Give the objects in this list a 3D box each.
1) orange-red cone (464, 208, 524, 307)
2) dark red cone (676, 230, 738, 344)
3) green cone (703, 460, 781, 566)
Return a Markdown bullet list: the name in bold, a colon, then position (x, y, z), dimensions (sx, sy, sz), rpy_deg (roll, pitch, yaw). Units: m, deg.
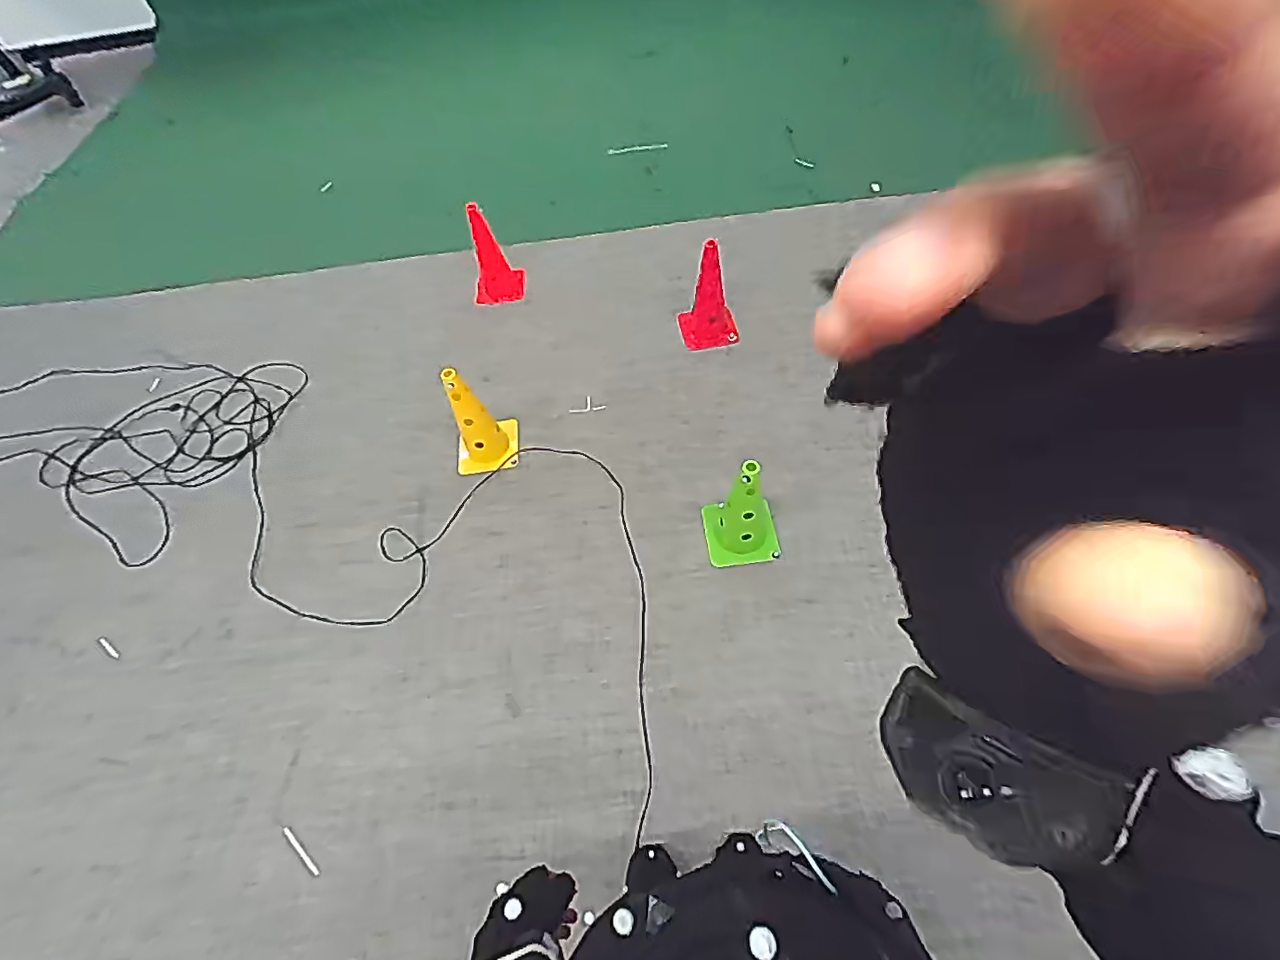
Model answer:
- **orange-red cone**: position (-0.601, -0.885, 2.108), dimensions (0.198, 0.360, 0.199), rpy_deg (-7, 59, 3)
- **dark red cone**: position (0.230, -0.672, 1.860), dimensions (0.202, 0.394, 0.201), rpy_deg (-12, 57, -1)
- **green cone**: position (0.275, 0.058, 1.432), dimensions (0.202, 0.368, 0.200), rpy_deg (-9, 57, 2)
